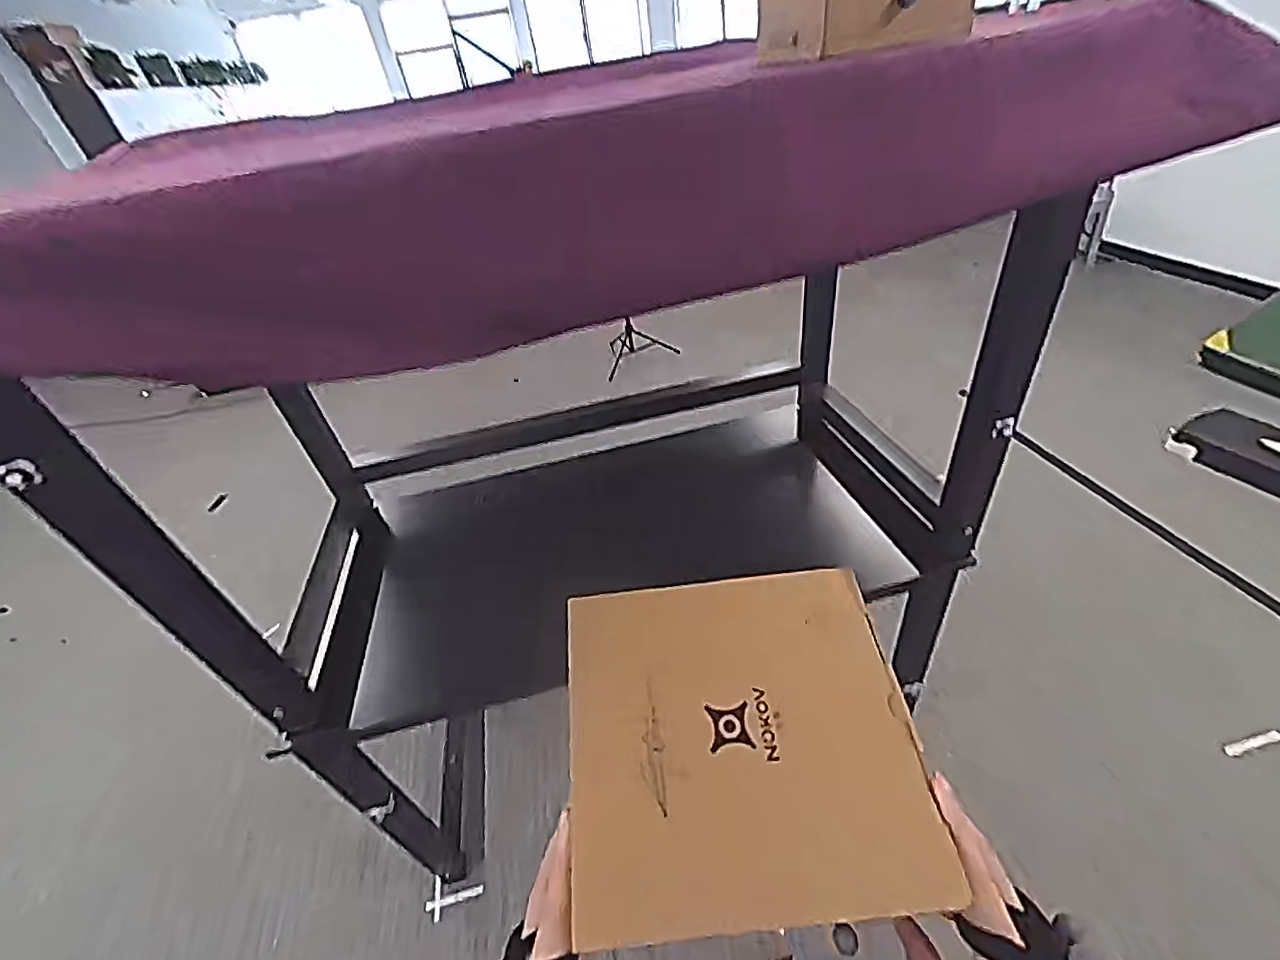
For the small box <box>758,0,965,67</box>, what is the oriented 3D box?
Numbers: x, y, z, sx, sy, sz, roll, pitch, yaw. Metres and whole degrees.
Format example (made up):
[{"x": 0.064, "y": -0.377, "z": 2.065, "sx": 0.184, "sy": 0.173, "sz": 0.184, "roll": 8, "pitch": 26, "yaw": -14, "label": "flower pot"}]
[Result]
[{"x": 0.235, "y": -0.557, "z": 0.575, "sx": 0.179, "sy": 0.176, "sz": 0.168, "roll": -15, "pitch": 37, "yaw": -7, "label": "small box"}]

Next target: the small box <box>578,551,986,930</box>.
[{"x": 0.061, "y": 0.164, "z": 0.338, "sx": 0.179, "sy": 0.176, "sz": 0.168, "roll": -7, "pitch": 52, "yaw": 1, "label": "small box"}]
